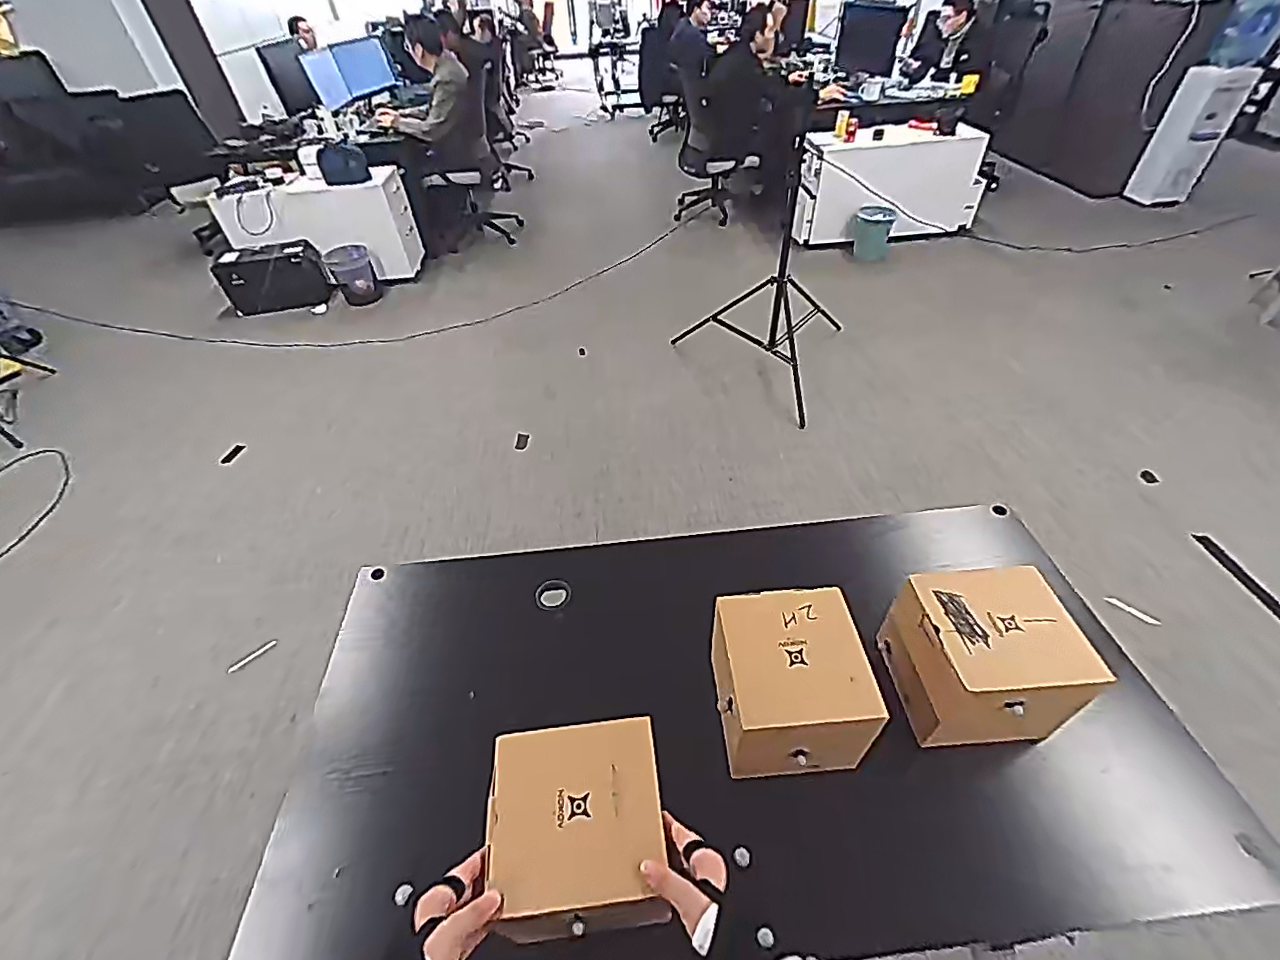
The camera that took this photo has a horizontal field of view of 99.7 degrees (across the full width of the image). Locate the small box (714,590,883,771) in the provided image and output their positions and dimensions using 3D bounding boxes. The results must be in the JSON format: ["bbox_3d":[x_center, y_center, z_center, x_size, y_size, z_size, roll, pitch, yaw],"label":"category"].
[{"bbox_3d":[0.195,0.272,0.722,0.168,0.176,0.179,-5,44,-1],"label":"small box"}]

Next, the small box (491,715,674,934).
[{"bbox_3d":[-0.058,0.395,0.618,0.179,0.176,0.168,-7,45,-4],"label":"small box"}]

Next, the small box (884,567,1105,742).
[{"bbox_3d":[0.453,0.240,0.735,0.179,0.176,0.168,-4,44,-1],"label":"small box"}]
